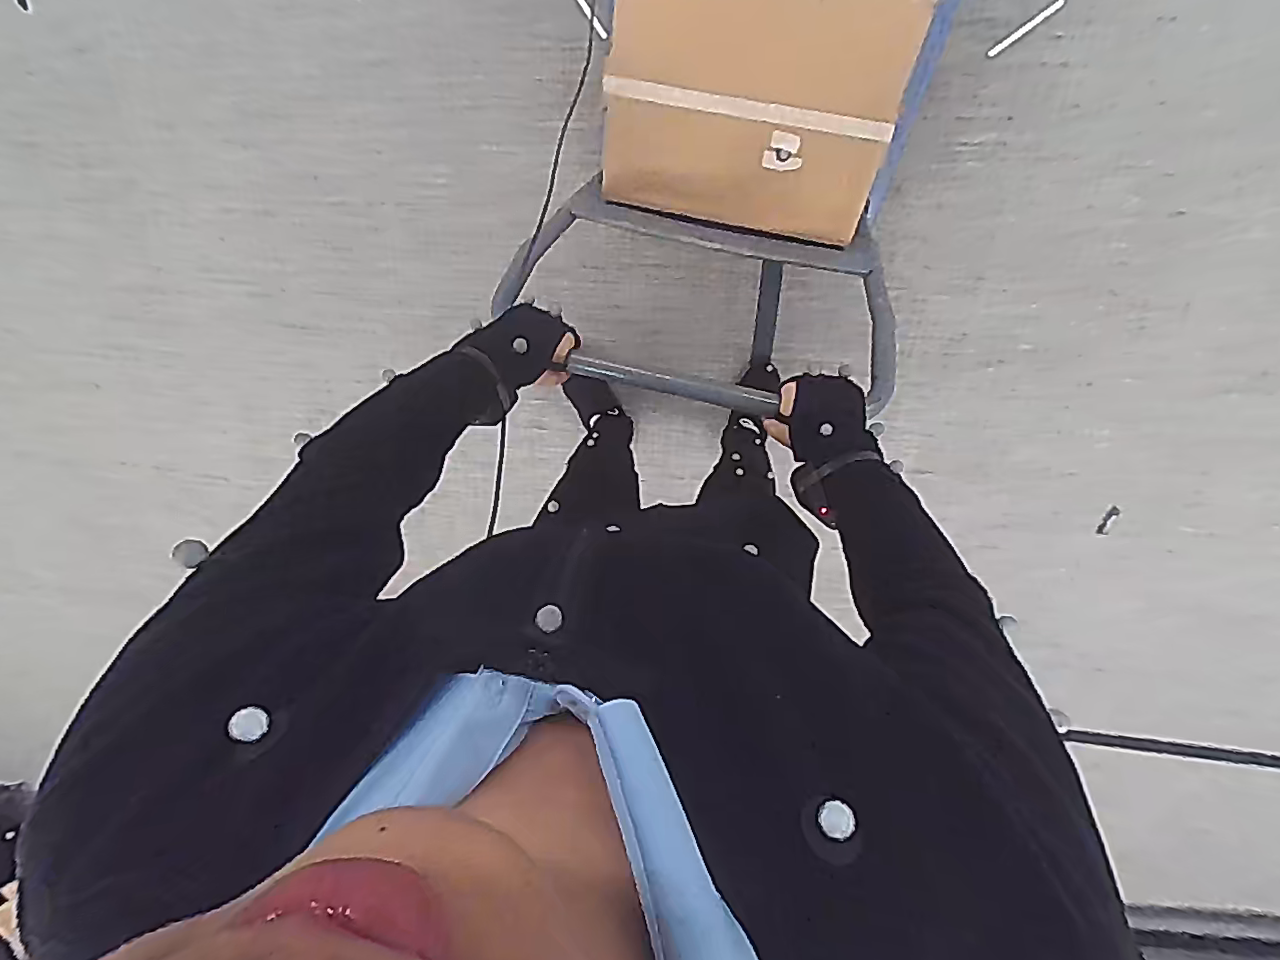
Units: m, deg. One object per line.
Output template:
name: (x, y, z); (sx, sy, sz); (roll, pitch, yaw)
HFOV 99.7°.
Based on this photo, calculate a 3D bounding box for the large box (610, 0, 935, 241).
large box: (0.186, -0.627, 0.888); (0.408, 0.320, 0.320); (13, 132, 4)
